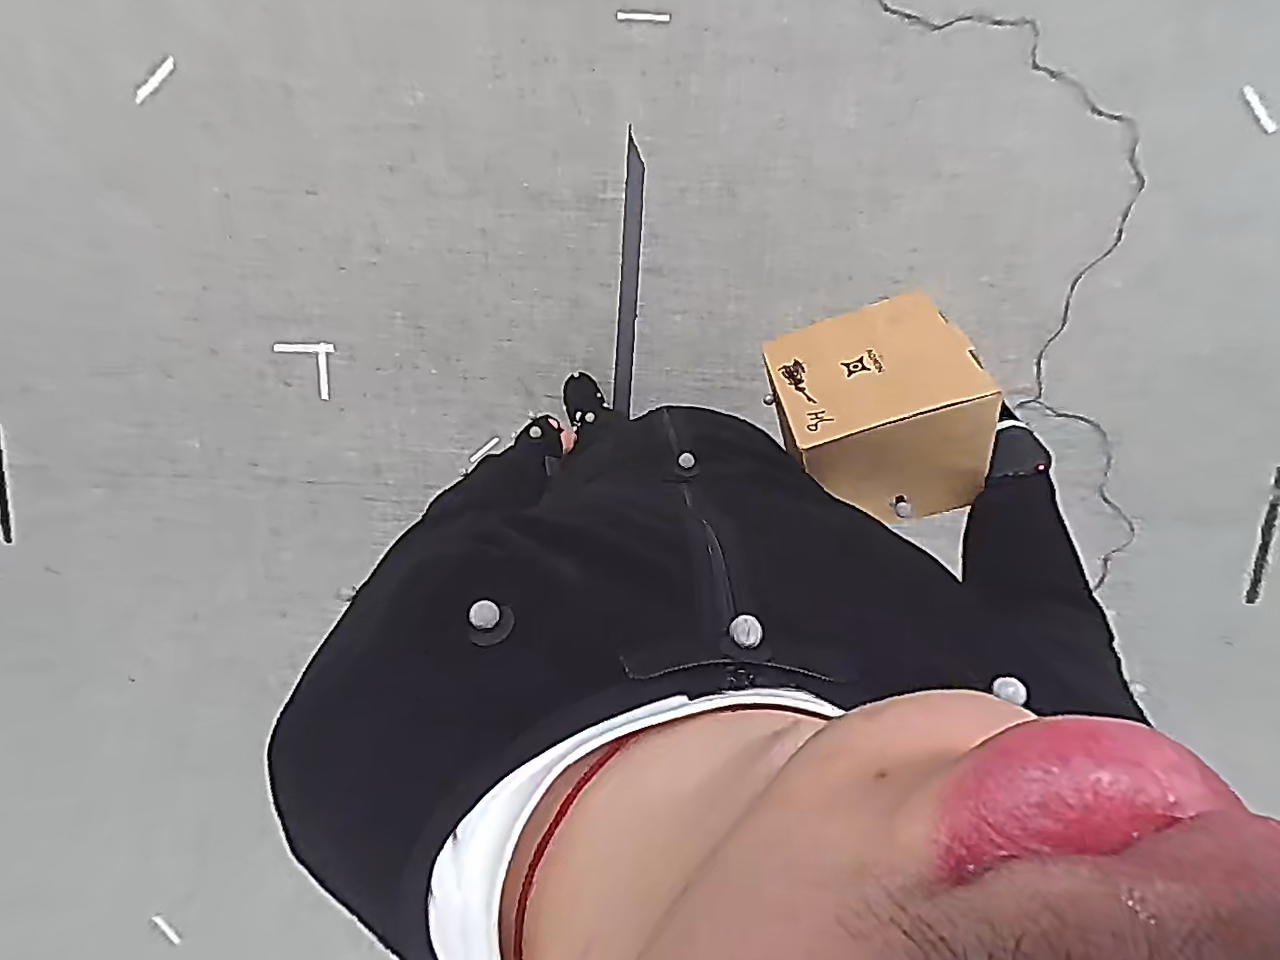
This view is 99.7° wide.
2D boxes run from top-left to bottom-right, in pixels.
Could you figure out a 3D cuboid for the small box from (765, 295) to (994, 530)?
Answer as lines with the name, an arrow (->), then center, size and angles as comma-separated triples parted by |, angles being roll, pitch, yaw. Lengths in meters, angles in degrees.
small box -> 0.255, -0.069, 0.606 | 0.179, 0.168, 0.176 | -17, 137, 12
